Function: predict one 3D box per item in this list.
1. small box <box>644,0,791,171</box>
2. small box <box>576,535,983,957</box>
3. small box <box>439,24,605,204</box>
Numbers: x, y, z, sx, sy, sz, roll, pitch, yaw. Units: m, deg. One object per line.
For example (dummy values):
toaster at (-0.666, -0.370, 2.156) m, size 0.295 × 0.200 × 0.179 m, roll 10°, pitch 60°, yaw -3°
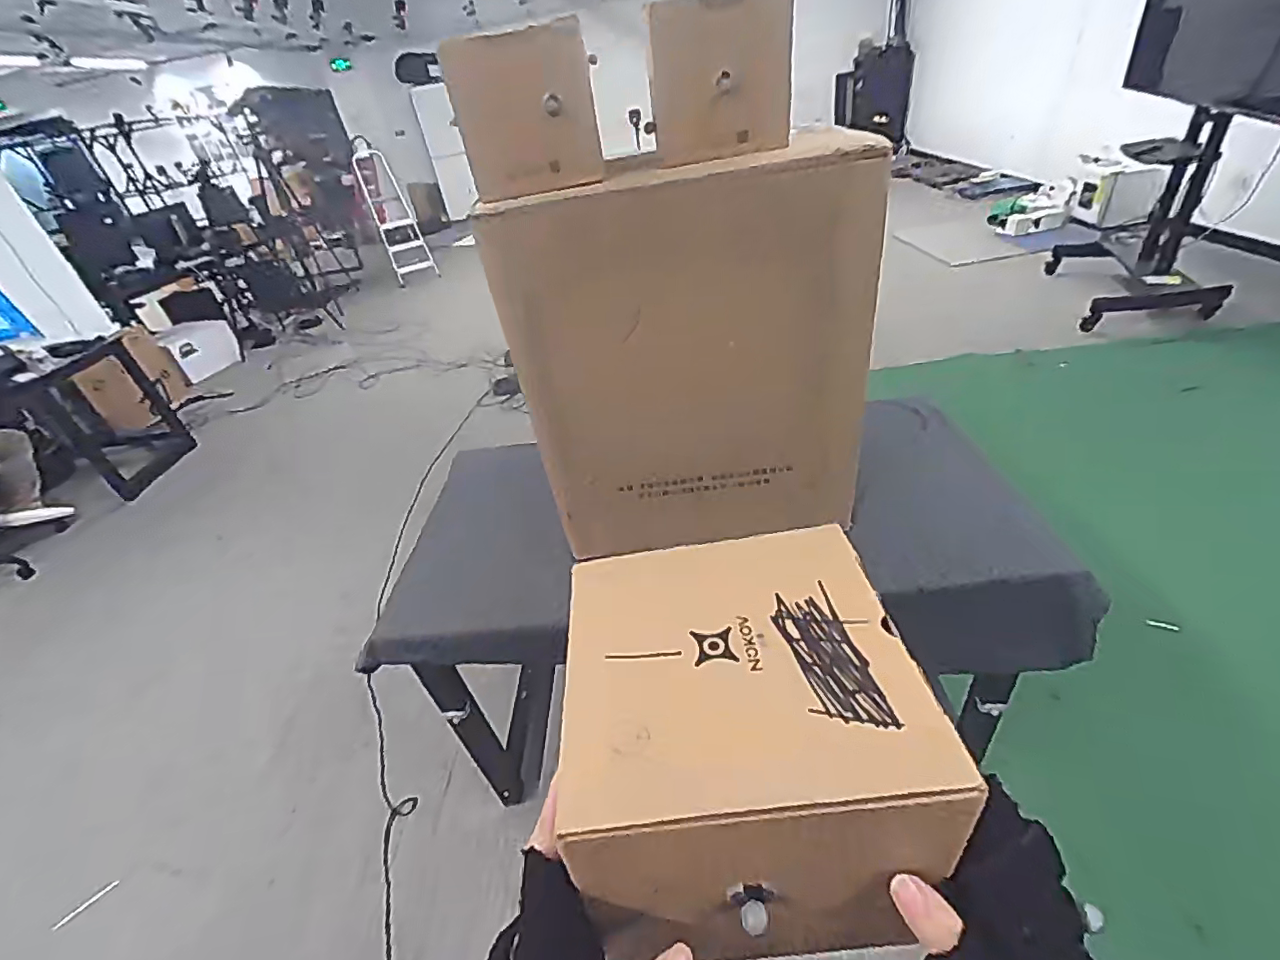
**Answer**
small box at (0.099, -0.519, 0.709) m, size 0.168 × 0.176 × 0.179 m, roll -7°, pitch 39°, yaw 4°
small box at (0.057, 0.157, 0.333) m, size 0.179 × 0.176 × 0.168 m, roll -6°, pitch 34°, yaw -3°
small box at (-0.140, -0.477, 0.716) m, size 0.168 × 0.176 × 0.179 m, roll -8°, pitch 37°, yaw 1°
